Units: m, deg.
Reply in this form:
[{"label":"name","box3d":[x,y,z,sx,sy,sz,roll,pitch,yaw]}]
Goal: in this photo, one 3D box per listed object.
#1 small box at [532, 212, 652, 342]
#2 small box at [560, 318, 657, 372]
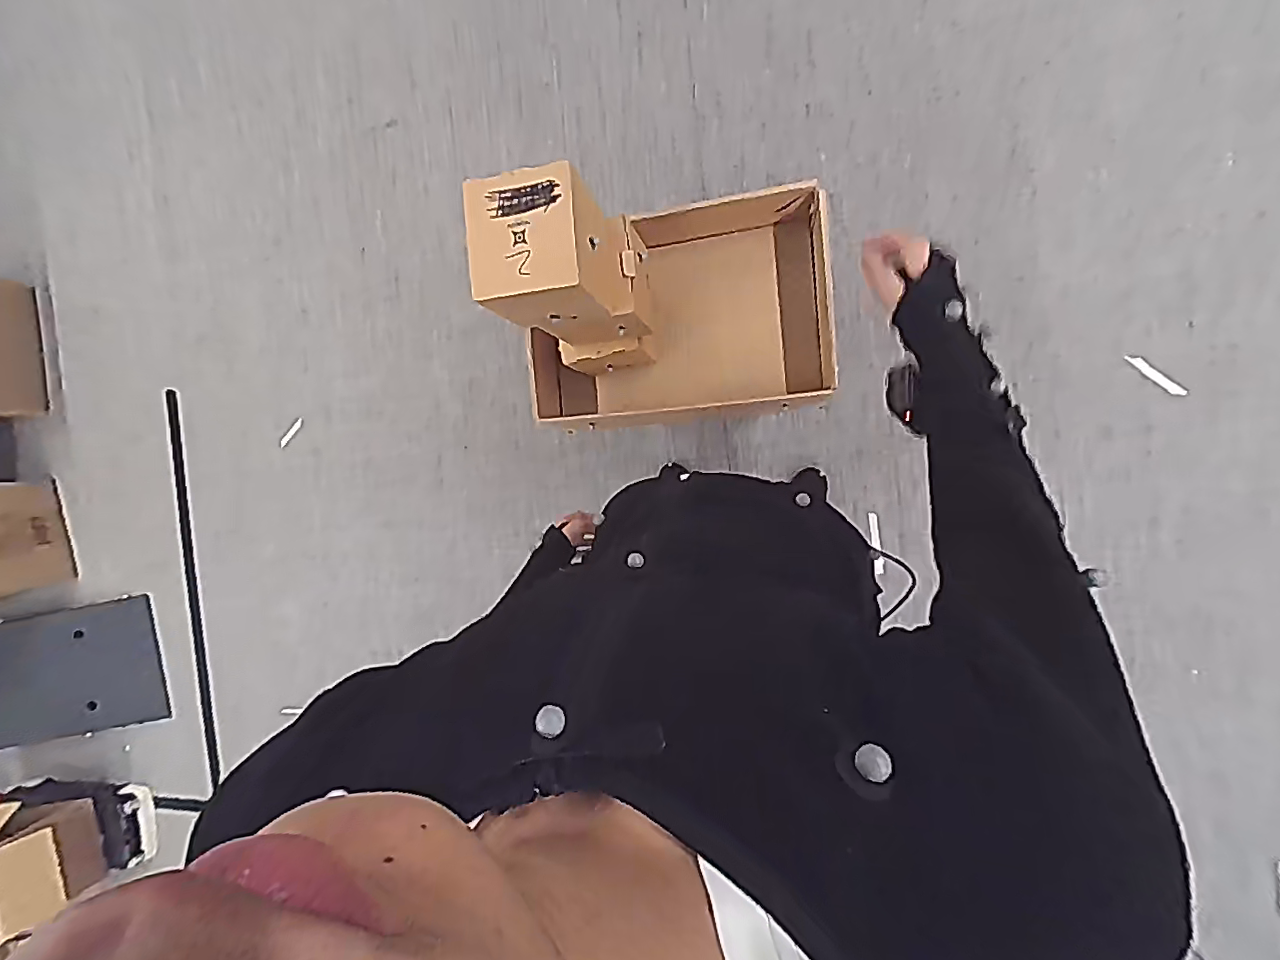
[{"label":"small box","box3d":[-0.078,-0.357,0.982,0.179,0.176,0.168,-5,91,13]},{"label":"small box","box3d":[-0.069,-0.340,1.149,0.168,0.176,0.179,-9,91,14]}]
